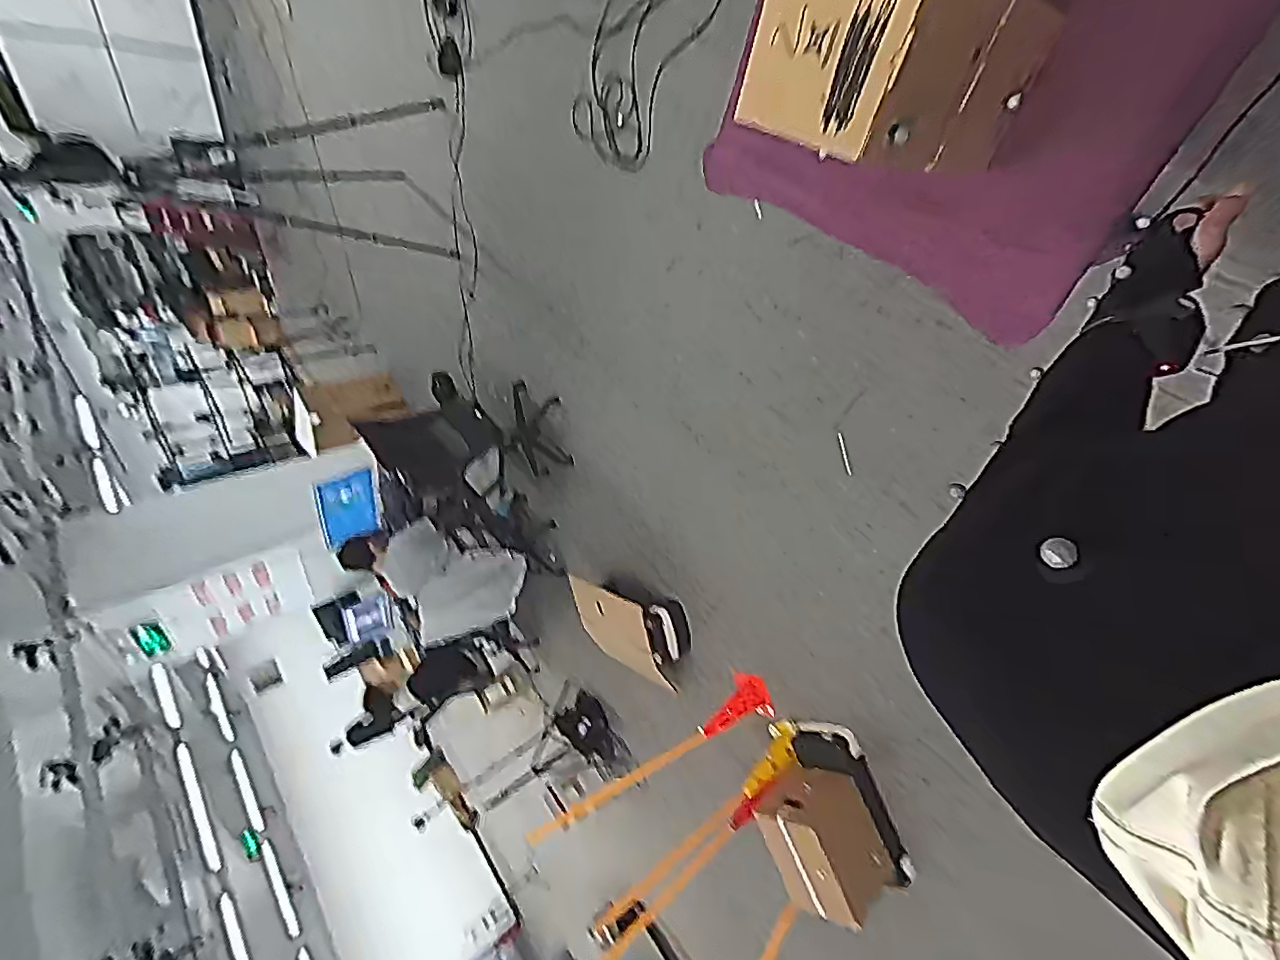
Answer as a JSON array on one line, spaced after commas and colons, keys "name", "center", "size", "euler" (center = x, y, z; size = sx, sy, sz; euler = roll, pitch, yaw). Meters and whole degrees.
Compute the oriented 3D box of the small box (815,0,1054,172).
[{"name": "small box", "center": [0.364, -0.502, 0.682], "size": [0.179, 0.176, 0.168], "euler": [43, 137, 29]}]
